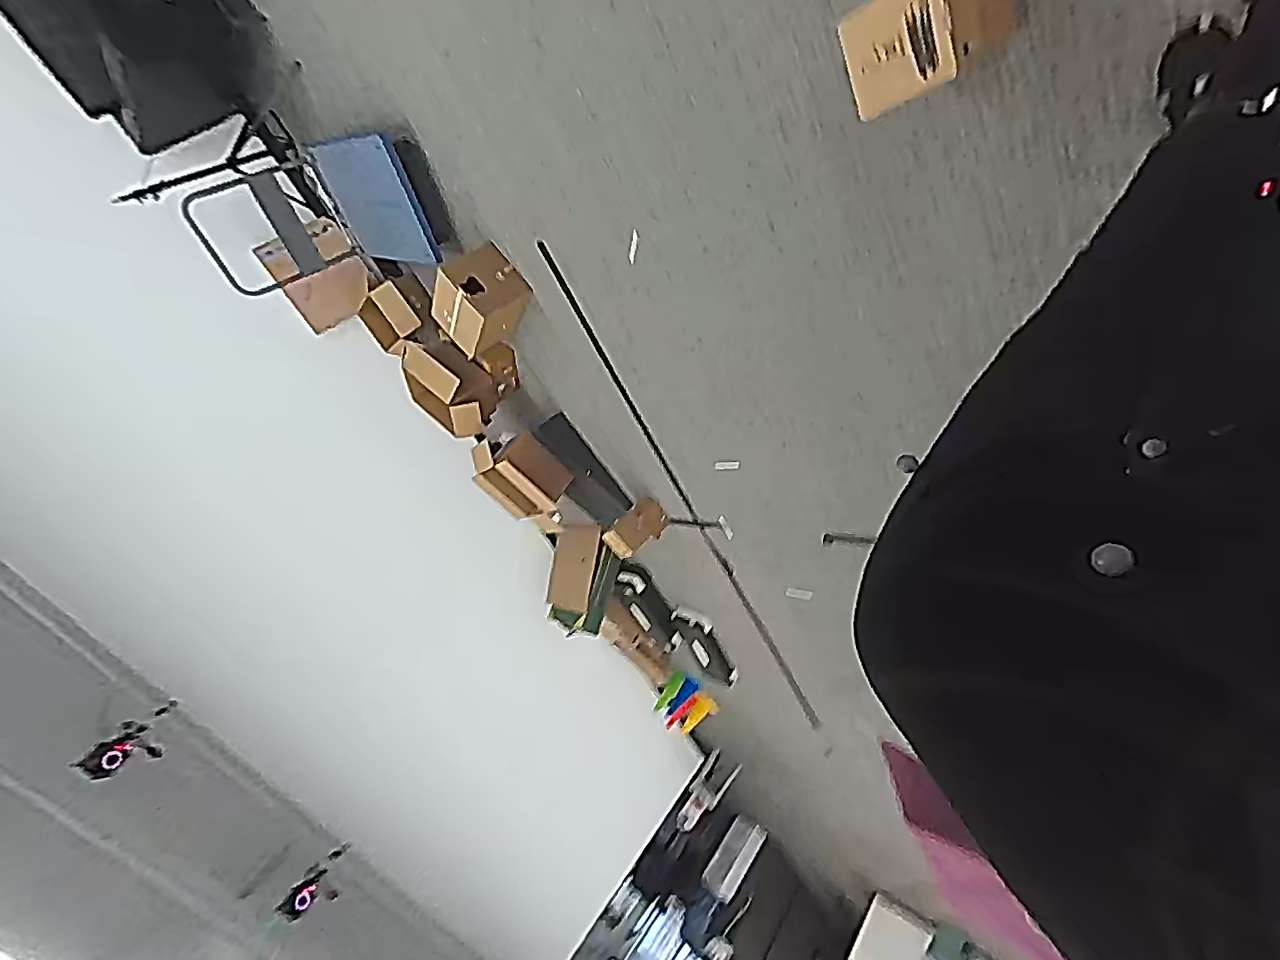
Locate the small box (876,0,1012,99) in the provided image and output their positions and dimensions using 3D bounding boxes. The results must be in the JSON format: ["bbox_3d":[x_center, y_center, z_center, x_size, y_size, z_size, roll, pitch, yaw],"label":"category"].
[{"bbox_3d":[0.592,-0.892,1.047,0.168,0.176,0.179,3,128,52],"label":"small box"}]
